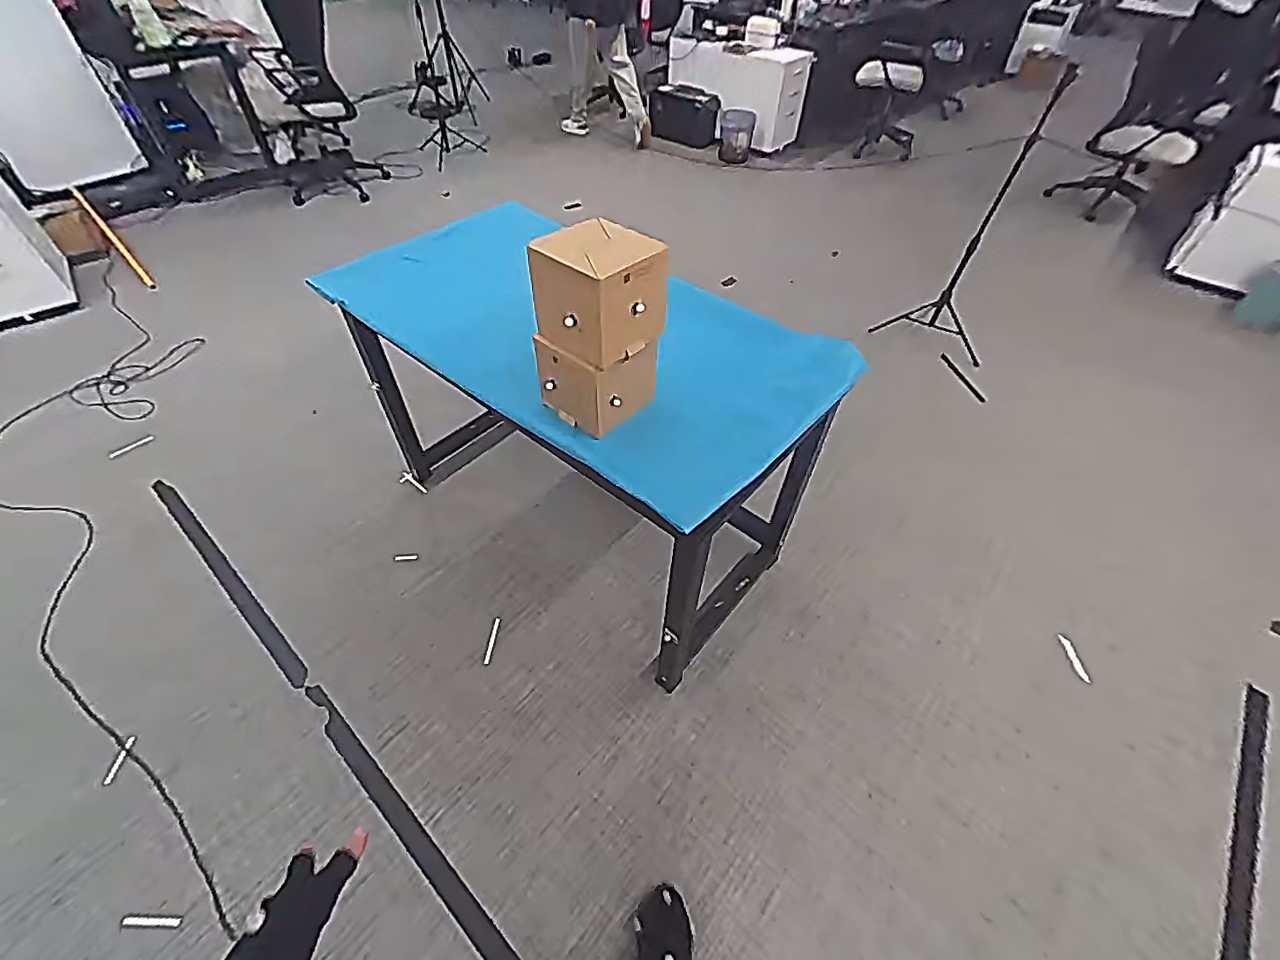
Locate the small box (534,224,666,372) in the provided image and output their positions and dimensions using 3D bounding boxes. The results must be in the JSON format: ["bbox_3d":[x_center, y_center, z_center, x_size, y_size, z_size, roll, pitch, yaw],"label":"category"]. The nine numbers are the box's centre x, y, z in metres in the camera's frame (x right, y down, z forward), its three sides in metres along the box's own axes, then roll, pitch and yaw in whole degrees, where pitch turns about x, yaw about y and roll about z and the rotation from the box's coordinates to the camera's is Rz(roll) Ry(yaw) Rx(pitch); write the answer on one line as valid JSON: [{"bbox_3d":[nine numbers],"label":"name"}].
[{"bbox_3d":[-0.069,-0.325,0.951,0.179,0.176,0.168,34,54,28],"label":"small box"}]

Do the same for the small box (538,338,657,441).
[{"bbox_3d":[-0.084,-0.216,1.072,0.168,0.176,0.179,34,55,24],"label":"small box"}]
